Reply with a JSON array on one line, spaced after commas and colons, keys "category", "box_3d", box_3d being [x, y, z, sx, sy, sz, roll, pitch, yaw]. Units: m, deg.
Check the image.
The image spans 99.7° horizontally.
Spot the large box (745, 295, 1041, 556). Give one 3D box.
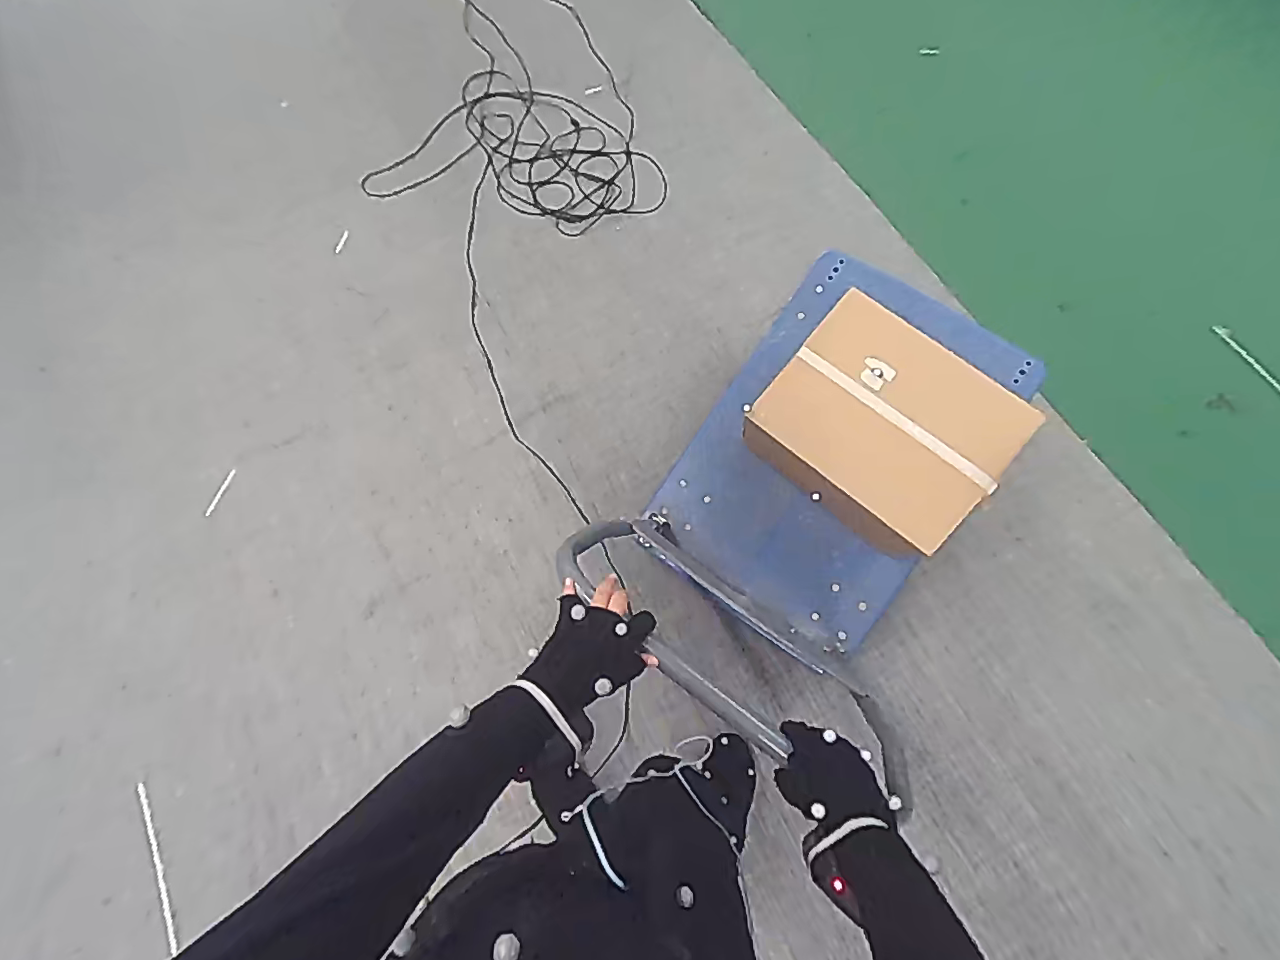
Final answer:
[{"category": "large box", "box_3d": [0.469, -0.089, 1.106, 0.408, 0.320, 0.320, 41, 92, 12]}]
